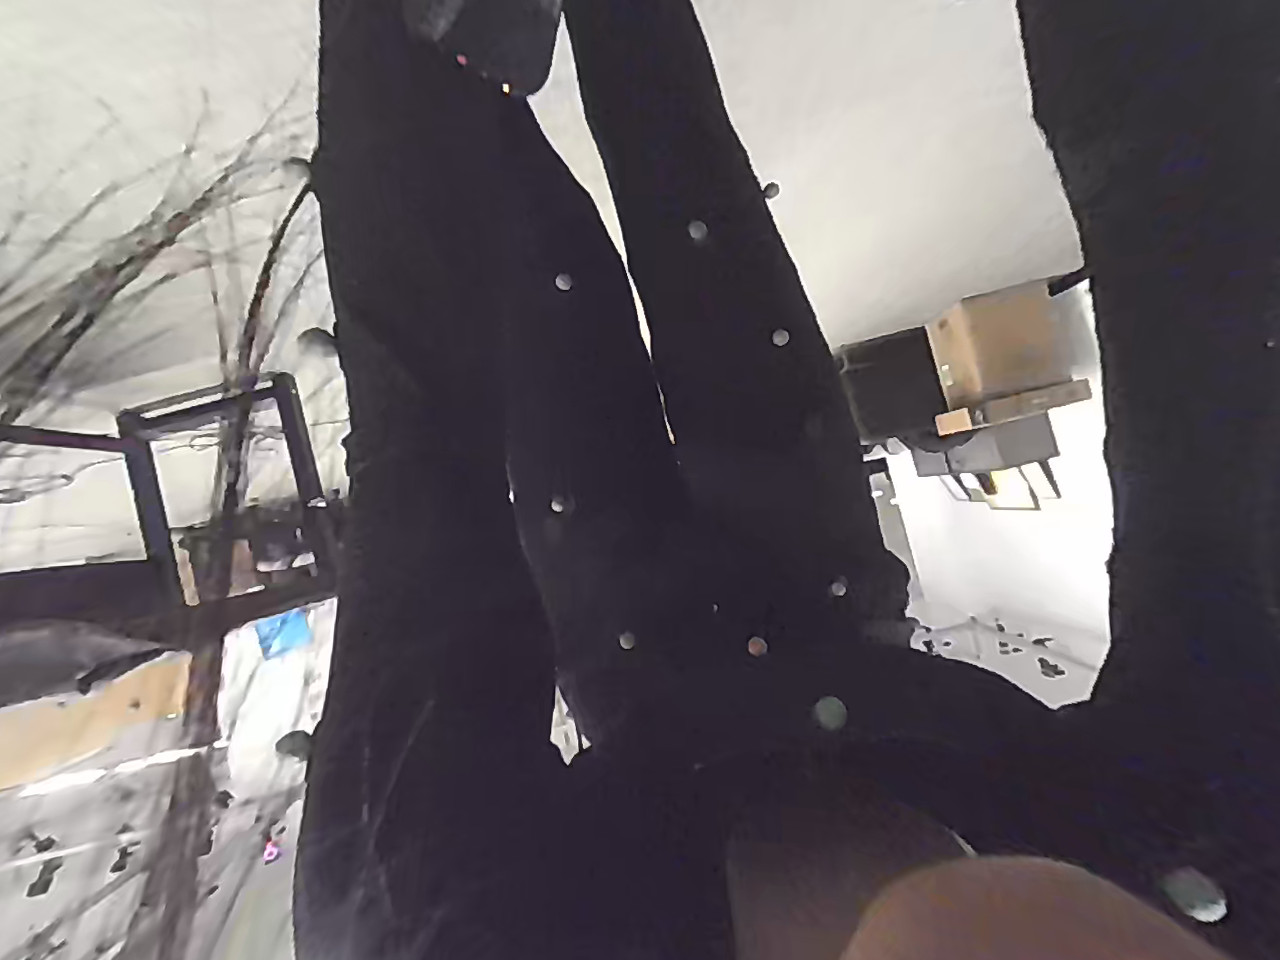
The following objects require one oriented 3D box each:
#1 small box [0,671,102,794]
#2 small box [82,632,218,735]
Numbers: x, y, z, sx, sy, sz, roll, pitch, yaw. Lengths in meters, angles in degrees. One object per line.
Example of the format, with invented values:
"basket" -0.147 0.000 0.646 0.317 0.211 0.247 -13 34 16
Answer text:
"small box" -1.165 0.469 0.994 0.179 0.176 0.168 -14 179 -2
"small box" -1.169 0.477 1.292 0.179 0.176 0.168 -15 178 -2
